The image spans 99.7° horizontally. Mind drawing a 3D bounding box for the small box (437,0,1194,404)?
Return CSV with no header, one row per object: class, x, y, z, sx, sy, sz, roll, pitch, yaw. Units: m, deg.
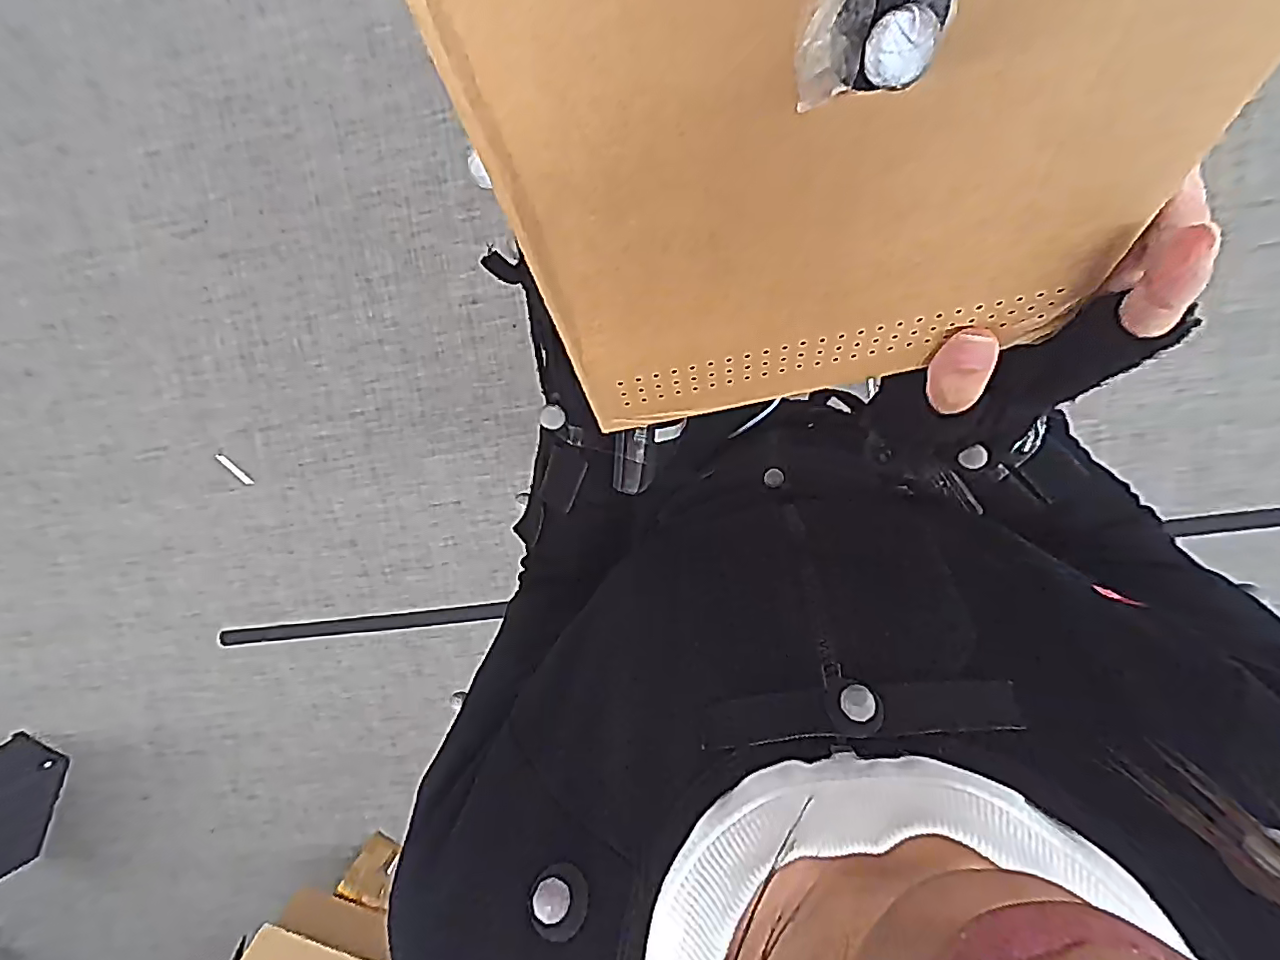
small box,0.047,-0.146,0.192,0.179,0.176,0.168,-11,64,5
